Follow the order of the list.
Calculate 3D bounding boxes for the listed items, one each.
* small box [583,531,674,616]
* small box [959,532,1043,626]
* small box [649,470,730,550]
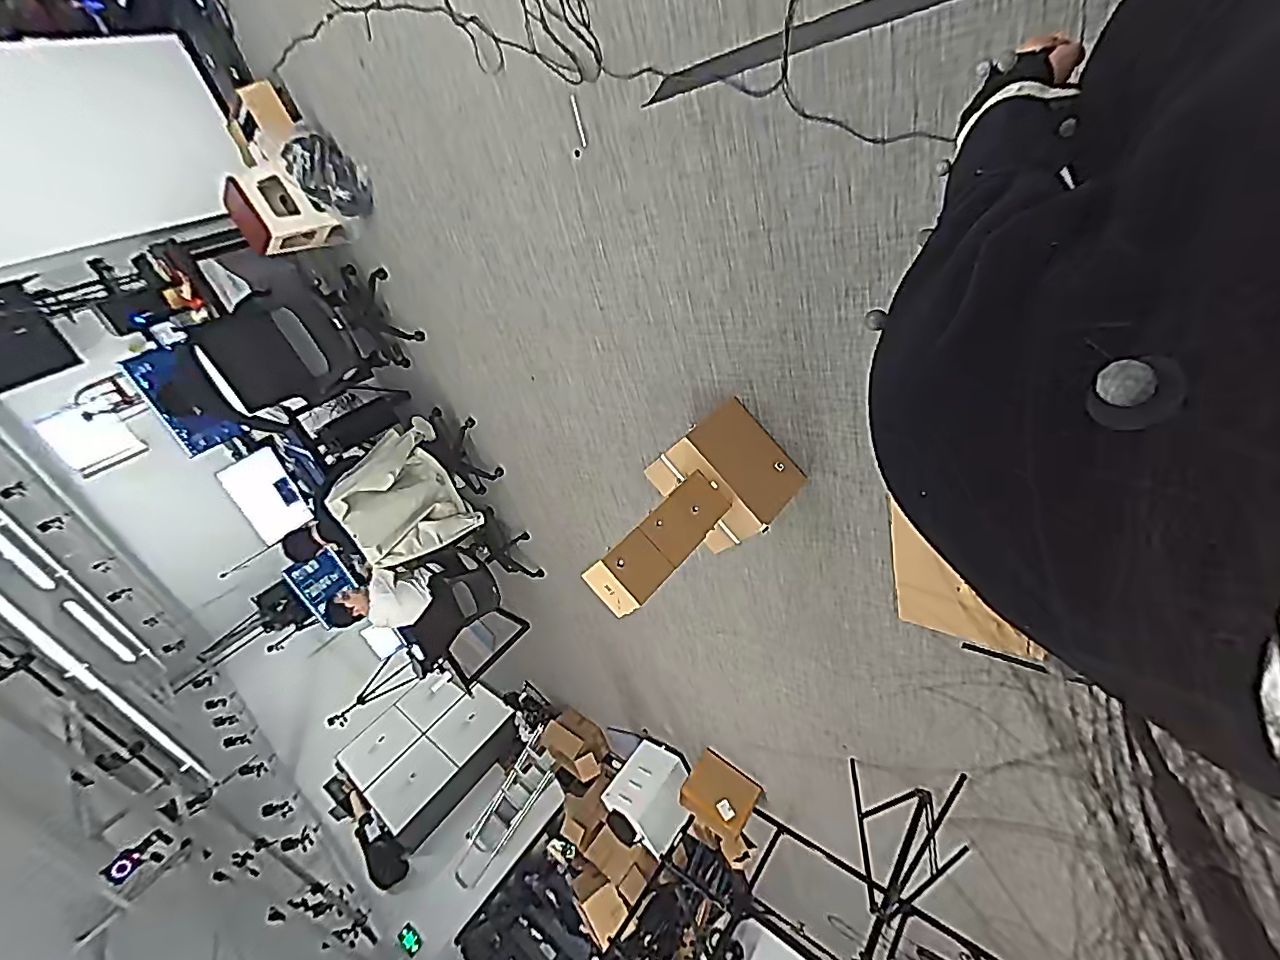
[{"bbox_3d":[-0.034,0.272,1.618,0.179,0.176,0.168,48,145,2],"label":"small box"},{"bbox_3d":[1.038,0.277,1.554,0.168,0.176,0.179,14,132,36],"label":"small box"},{"bbox_3d":[0.169,0.098,1.810,0.179,0.176,0.168,49,144,3],"label":"small box"}]
